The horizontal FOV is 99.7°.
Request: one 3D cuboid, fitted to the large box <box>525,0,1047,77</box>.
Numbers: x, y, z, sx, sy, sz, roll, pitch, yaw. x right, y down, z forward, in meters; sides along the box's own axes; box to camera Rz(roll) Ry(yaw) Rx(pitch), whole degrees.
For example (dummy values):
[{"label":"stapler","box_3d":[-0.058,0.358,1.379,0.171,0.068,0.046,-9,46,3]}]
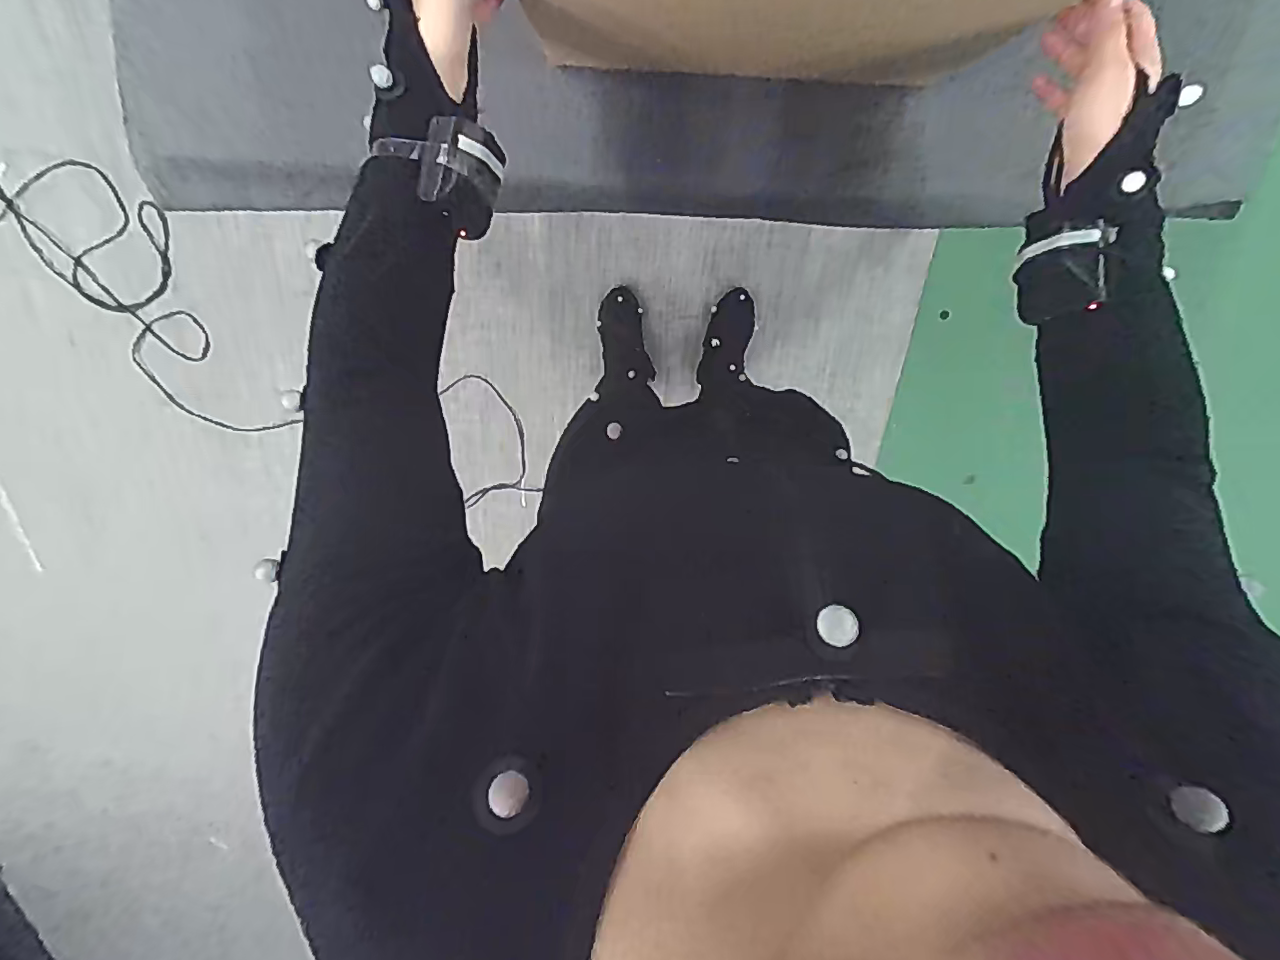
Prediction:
[{"label":"large box","box_3d":[0.108,-0.509,0.375,0.408,0.320,0.320,2,114,-1]}]
